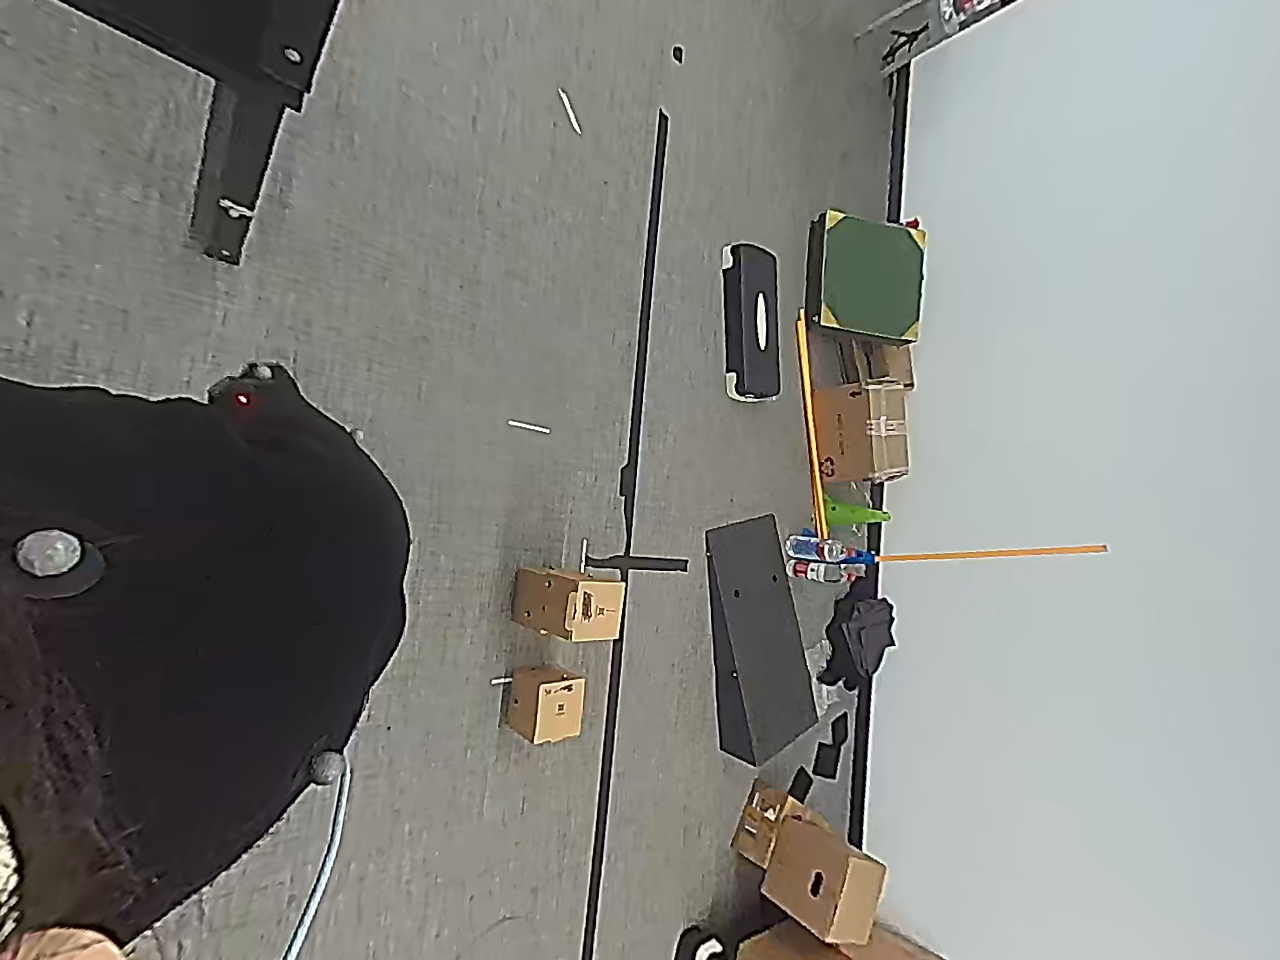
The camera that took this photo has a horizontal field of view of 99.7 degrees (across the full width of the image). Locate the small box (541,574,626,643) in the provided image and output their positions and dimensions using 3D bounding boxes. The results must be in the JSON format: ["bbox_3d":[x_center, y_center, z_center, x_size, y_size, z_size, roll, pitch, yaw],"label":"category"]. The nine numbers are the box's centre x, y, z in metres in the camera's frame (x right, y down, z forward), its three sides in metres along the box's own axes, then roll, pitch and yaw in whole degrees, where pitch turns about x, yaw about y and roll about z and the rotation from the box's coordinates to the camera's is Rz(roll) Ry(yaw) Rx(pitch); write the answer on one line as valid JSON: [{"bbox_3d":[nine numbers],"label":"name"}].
[{"bbox_3d":[-0.166,0.368,1.565,0.179,0.176,0.168,12,83,-42],"label":"small box"}]

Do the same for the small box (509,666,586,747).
[{"bbox_3d":[-0.290,0.696,1.678,0.168,0.176,0.179,10,85,-42],"label":"small box"}]

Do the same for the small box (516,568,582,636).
[{"bbox_3d":[-0.274,0.376,1.689,0.168,0.176,0.179,8,85,-42],"label":"small box"}]
